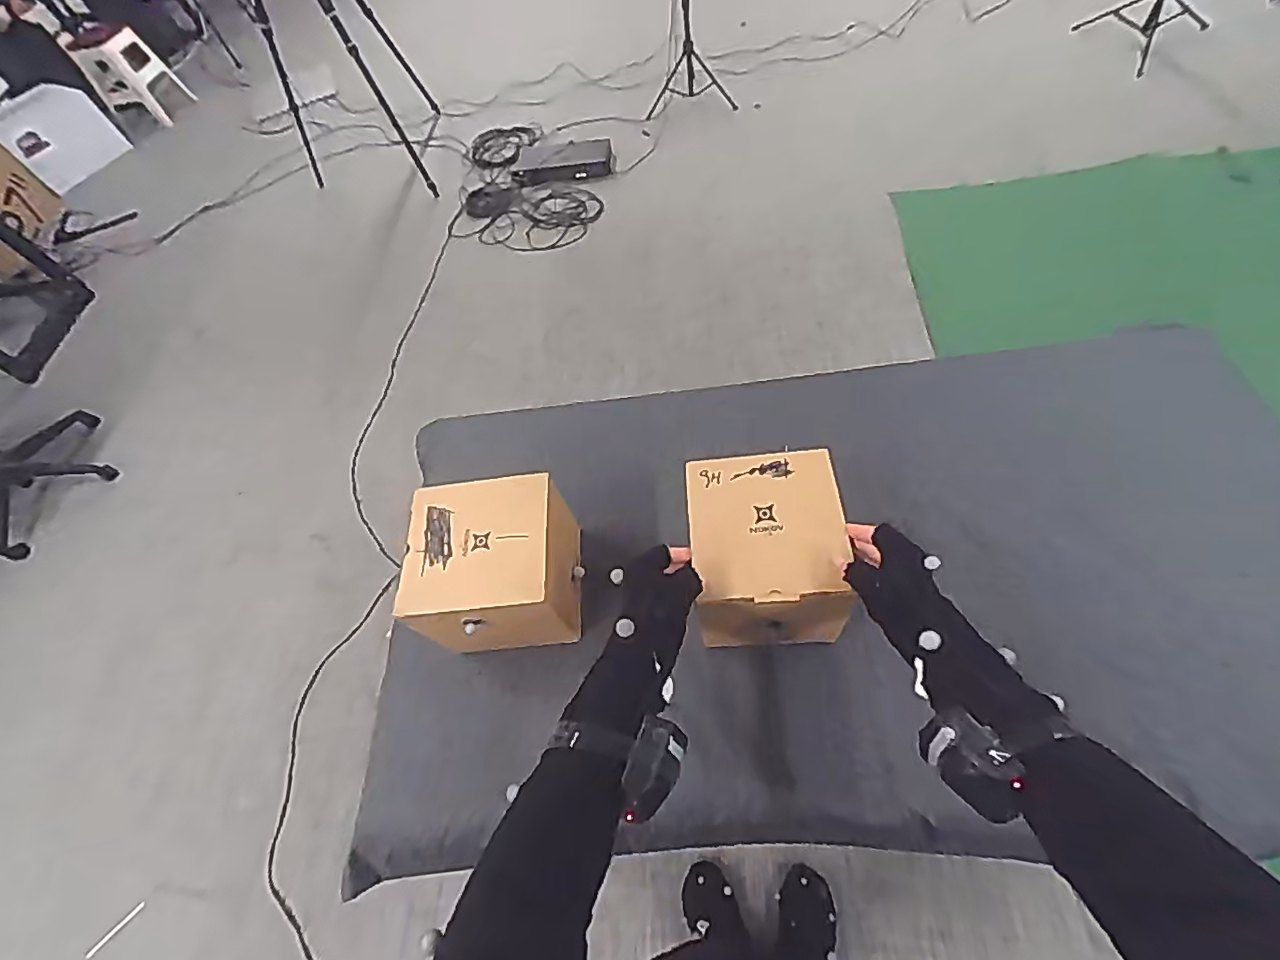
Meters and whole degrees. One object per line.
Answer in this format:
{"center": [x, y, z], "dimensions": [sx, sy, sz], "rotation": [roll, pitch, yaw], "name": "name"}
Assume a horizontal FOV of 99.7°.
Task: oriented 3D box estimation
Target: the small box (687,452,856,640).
{"center": [0.148, 0.089, 0.652], "dimensions": [0.168, 0.176, 0.179], "rotation": [-5, 58, 8], "name": "small box"}

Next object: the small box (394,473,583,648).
{"center": [-0.179, 0.111, 0.695], "dimensions": [0.179, 0.176, 0.168], "rotation": [-6, 59, 5], "name": "small box"}
